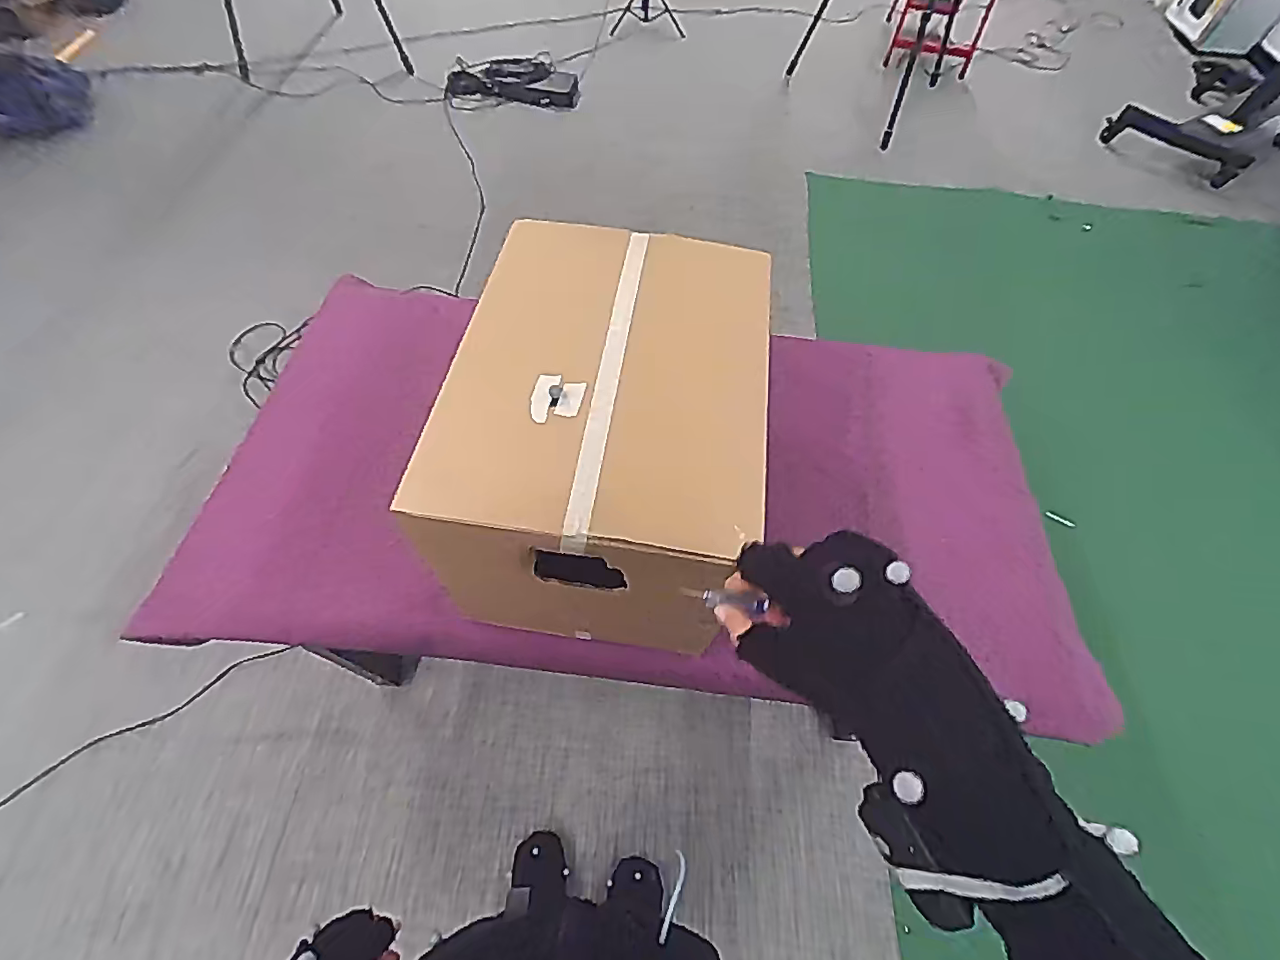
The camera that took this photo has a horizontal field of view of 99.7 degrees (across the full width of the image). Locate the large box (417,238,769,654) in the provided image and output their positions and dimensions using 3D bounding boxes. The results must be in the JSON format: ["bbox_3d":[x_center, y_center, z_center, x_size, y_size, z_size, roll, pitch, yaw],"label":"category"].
[{"bbox_3d":[-0.031,-0.033,0.694,0.320,0.320,0.408,9,59,1],"label":"large box"}]
